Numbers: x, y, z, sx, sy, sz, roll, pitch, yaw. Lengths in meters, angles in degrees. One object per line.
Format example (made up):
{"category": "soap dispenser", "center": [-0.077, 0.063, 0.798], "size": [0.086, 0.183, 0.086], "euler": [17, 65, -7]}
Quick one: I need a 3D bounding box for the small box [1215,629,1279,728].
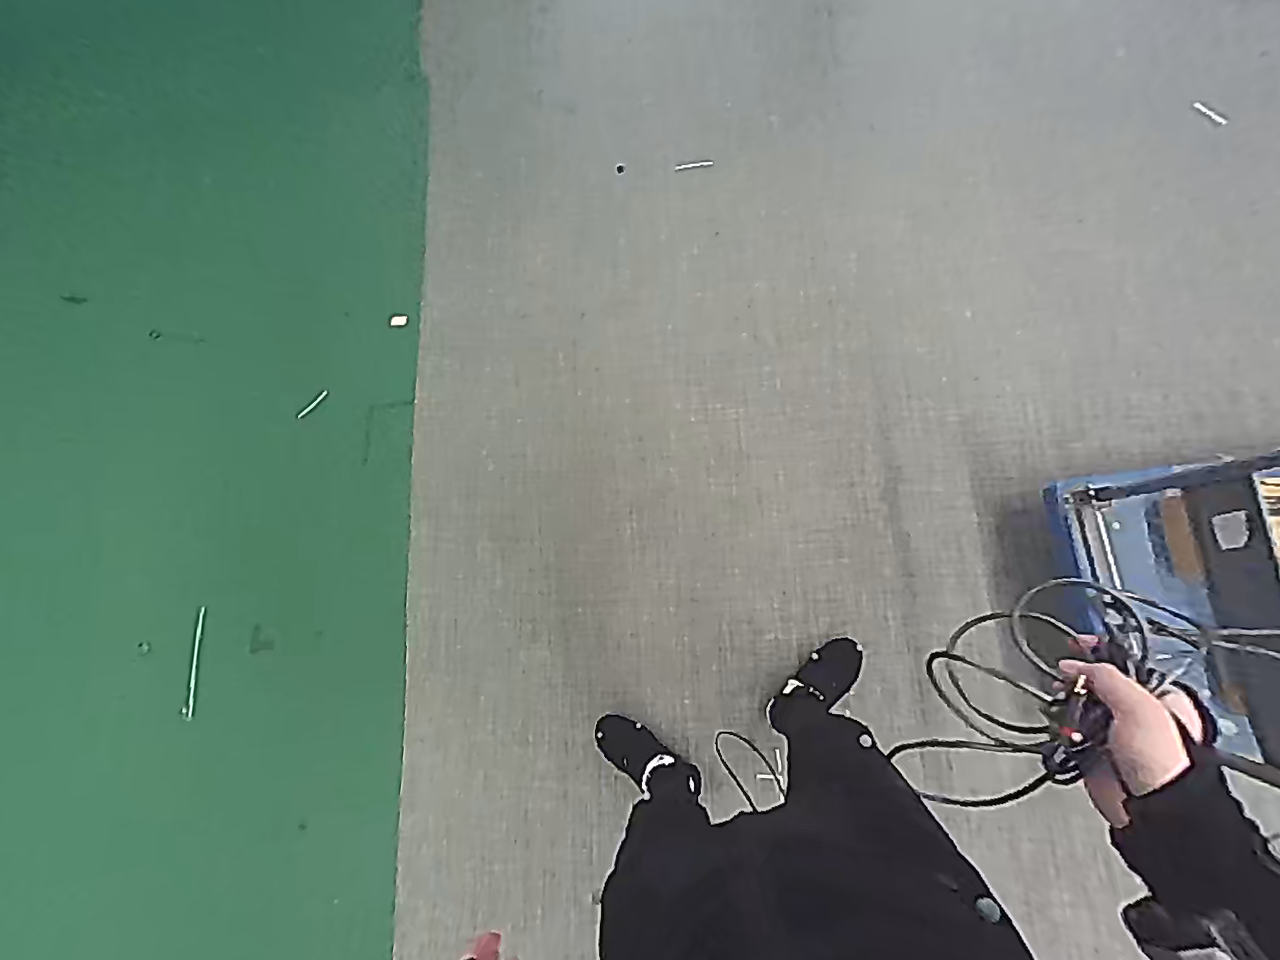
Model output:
{"category": "small box", "center": [1.245, 0.367, 0.995], "size": [0.179, 0.176, 0.168], "euler": [-5, 79, 8]}
